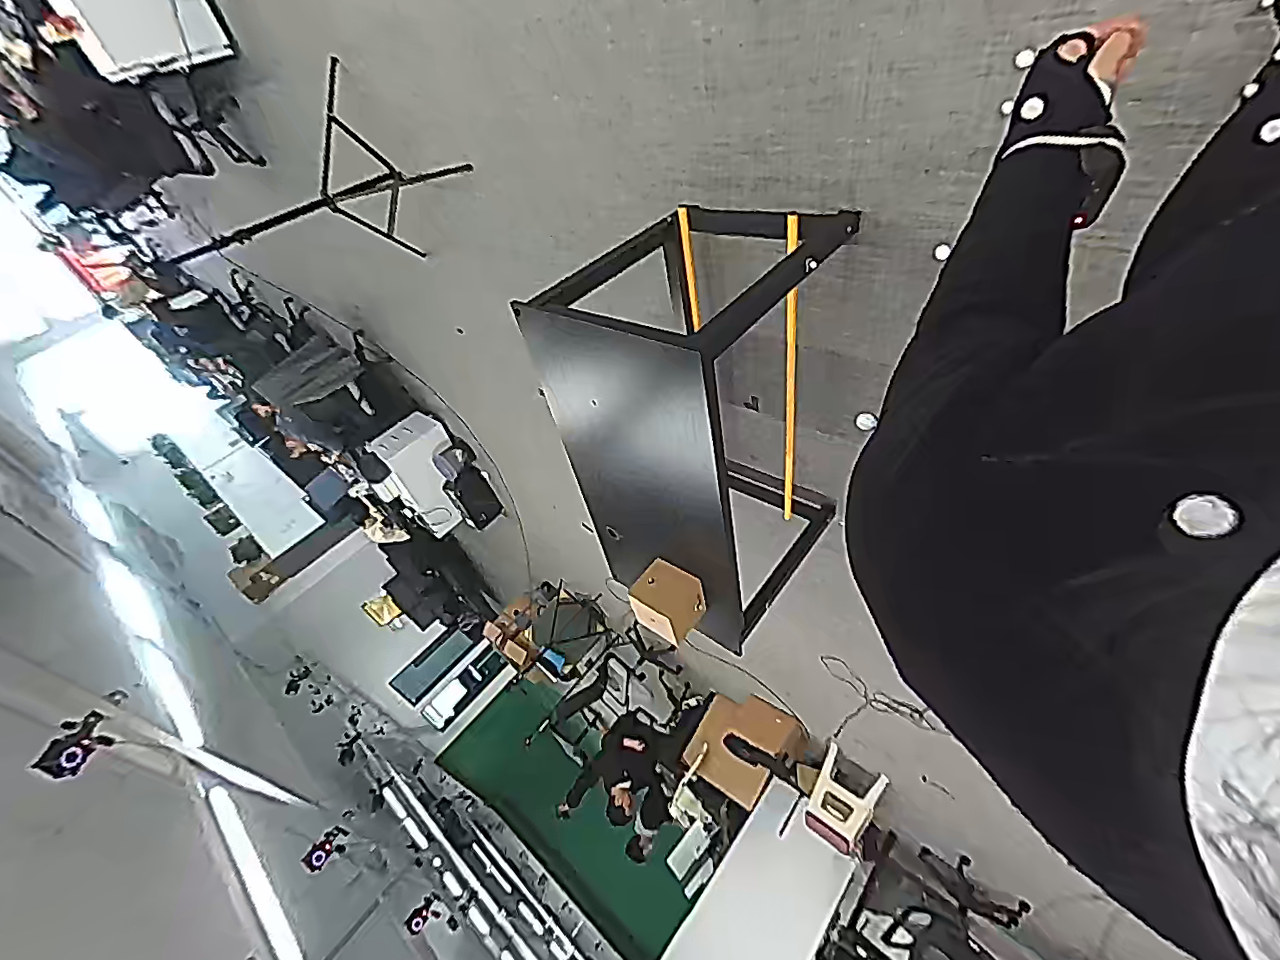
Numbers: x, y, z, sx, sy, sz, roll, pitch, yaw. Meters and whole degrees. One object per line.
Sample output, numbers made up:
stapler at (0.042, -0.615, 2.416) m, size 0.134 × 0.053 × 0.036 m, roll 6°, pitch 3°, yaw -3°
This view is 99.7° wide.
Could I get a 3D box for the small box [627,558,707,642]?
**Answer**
small box at (0.092, 0.376, 1.736) m, size 0.179 × 0.176 × 0.168 m, roll 22°, pitch 145°, yaw 36°
